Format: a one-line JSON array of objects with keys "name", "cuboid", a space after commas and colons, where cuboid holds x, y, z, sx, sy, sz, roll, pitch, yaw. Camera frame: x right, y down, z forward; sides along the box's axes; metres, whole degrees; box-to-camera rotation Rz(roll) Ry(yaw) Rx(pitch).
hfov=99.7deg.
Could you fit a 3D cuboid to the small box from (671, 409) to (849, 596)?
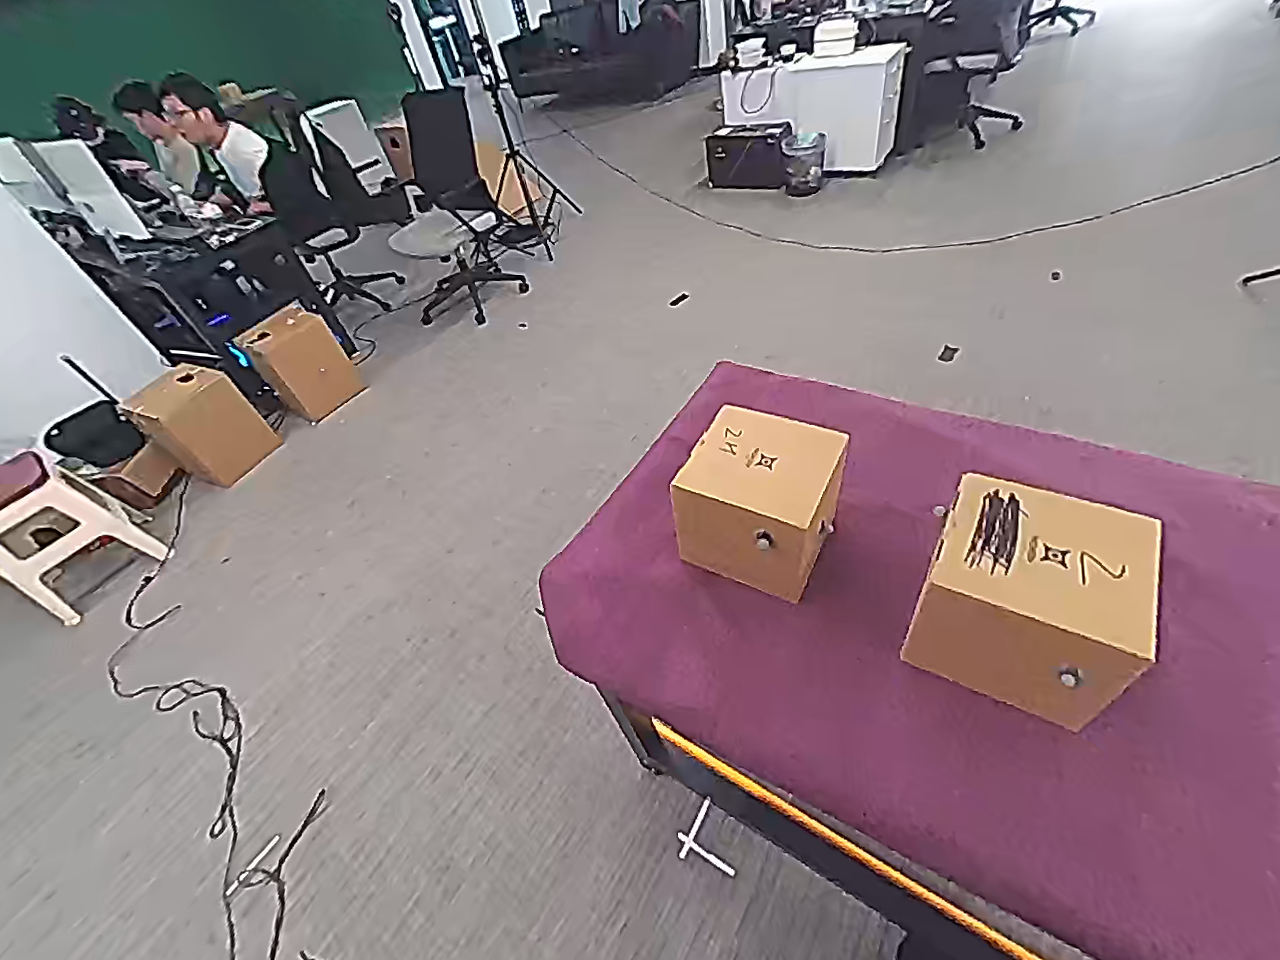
[{"name": "small box", "cuboid": [0.164, 0.033, 0.740, 0.179, 0.176, 0.168, 18, 53, 26]}]
